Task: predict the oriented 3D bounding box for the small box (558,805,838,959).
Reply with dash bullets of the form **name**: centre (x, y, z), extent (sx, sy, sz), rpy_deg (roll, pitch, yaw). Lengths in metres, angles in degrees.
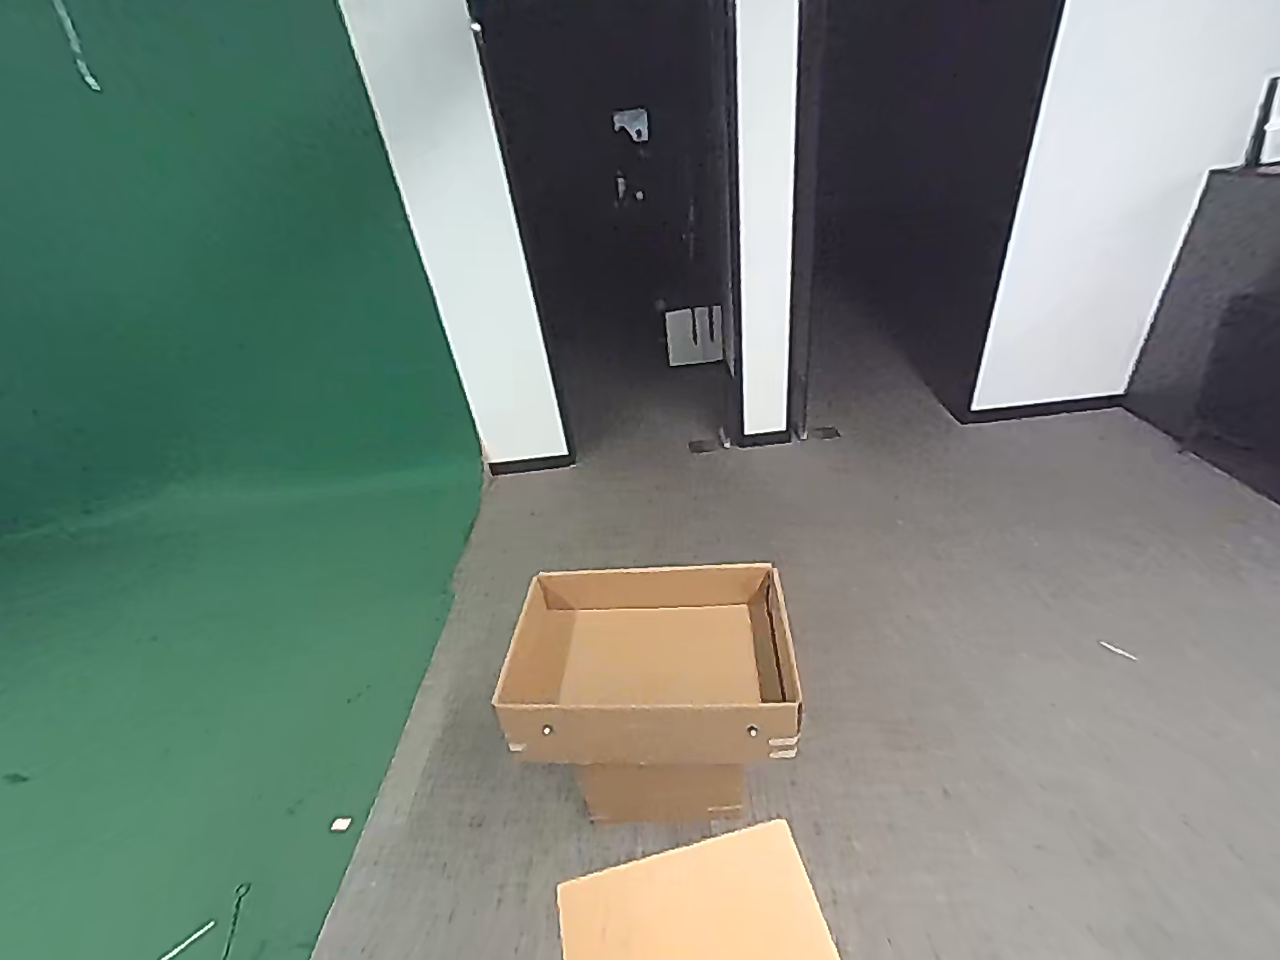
- **small box**: centre (0.042, 0.363, 0.370), extent (0.168, 0.176, 0.179), rpy_deg (-10, 43, -9)
